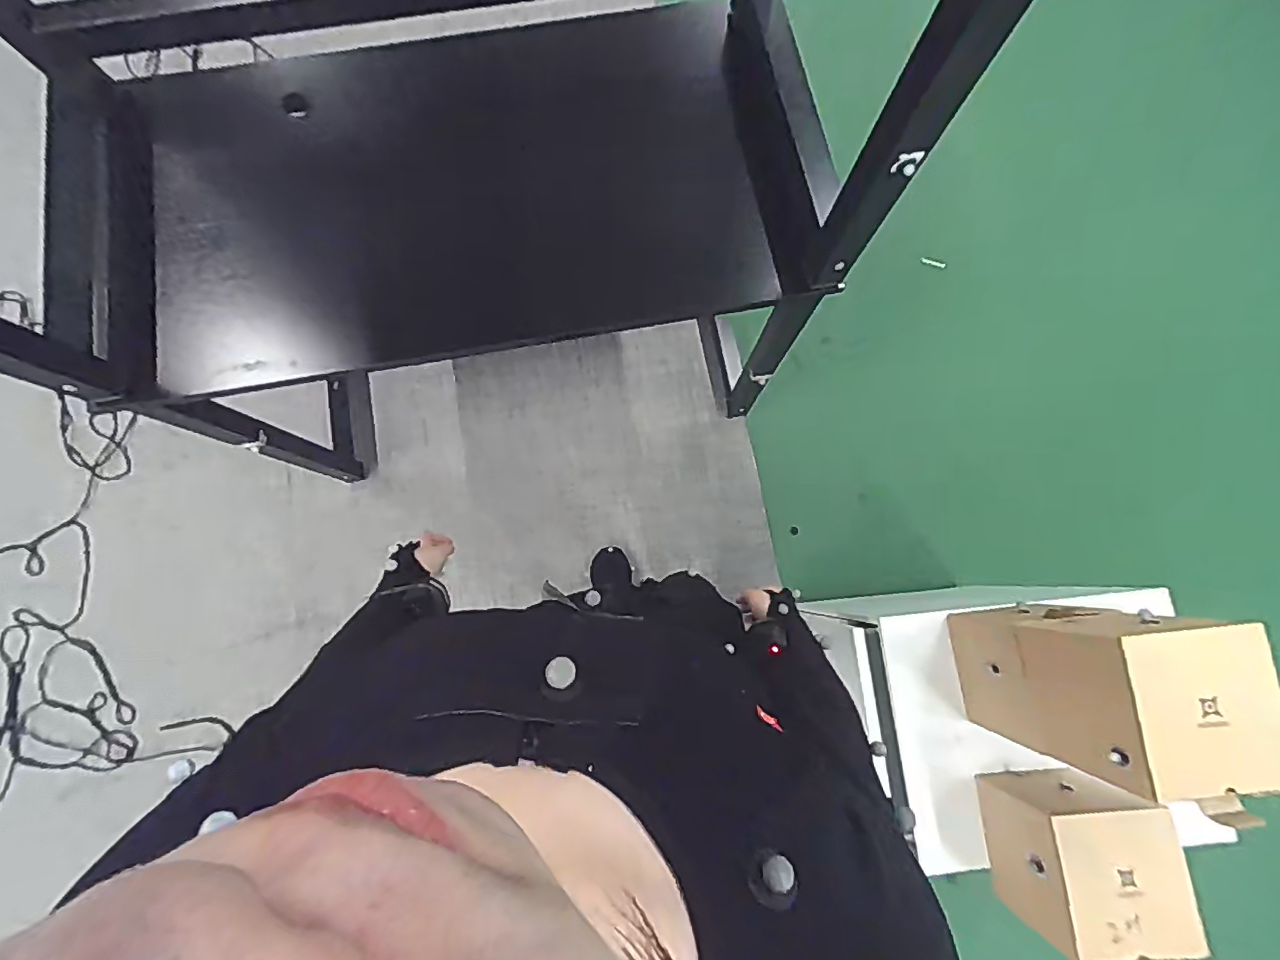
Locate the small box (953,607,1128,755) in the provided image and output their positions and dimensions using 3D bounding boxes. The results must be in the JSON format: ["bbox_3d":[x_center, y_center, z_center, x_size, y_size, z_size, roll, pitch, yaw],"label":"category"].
[{"bbox_3d":[0.608,0.288,0.814,0.168,0.176,0.179,-7,80,-2],"label":"small box"}]

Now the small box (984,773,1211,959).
[{"bbox_3d":[0.625,0.533,0.767,0.168,0.176,0.179,-3,79,0],"label":"small box"}]

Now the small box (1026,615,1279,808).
[{"bbox_3d":[0.610,0.260,0.653,0.168,0.176,0.179,-6,82,-2],"label":"small box"}]
